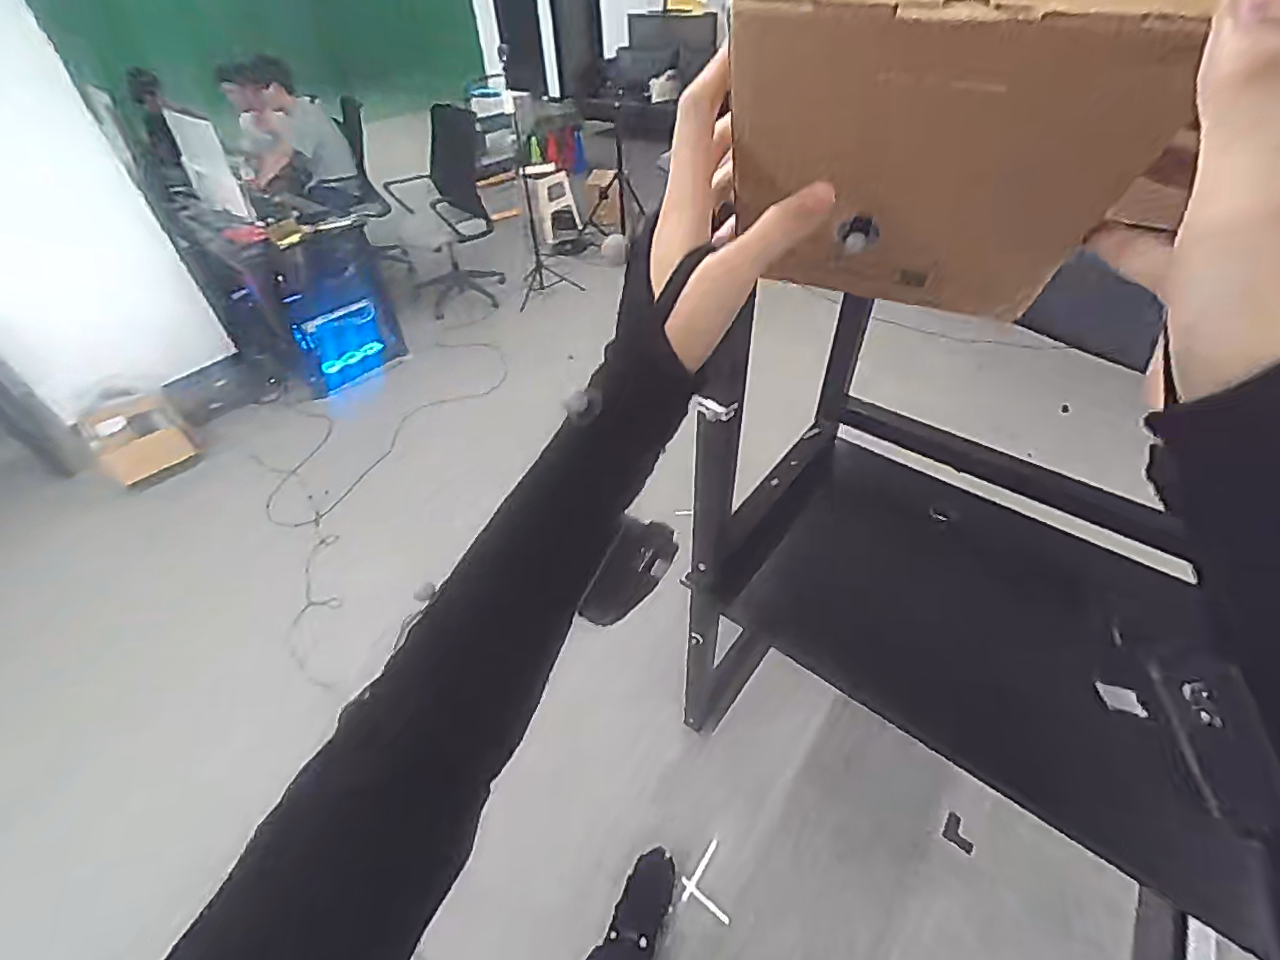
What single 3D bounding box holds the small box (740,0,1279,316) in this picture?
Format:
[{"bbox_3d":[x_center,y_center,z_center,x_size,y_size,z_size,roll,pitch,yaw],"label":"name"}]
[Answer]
[{"bbox_3d":[0.151,-0.212,0.268,0.168,0.176,0.179,15,80,15],"label":"small box"}]
